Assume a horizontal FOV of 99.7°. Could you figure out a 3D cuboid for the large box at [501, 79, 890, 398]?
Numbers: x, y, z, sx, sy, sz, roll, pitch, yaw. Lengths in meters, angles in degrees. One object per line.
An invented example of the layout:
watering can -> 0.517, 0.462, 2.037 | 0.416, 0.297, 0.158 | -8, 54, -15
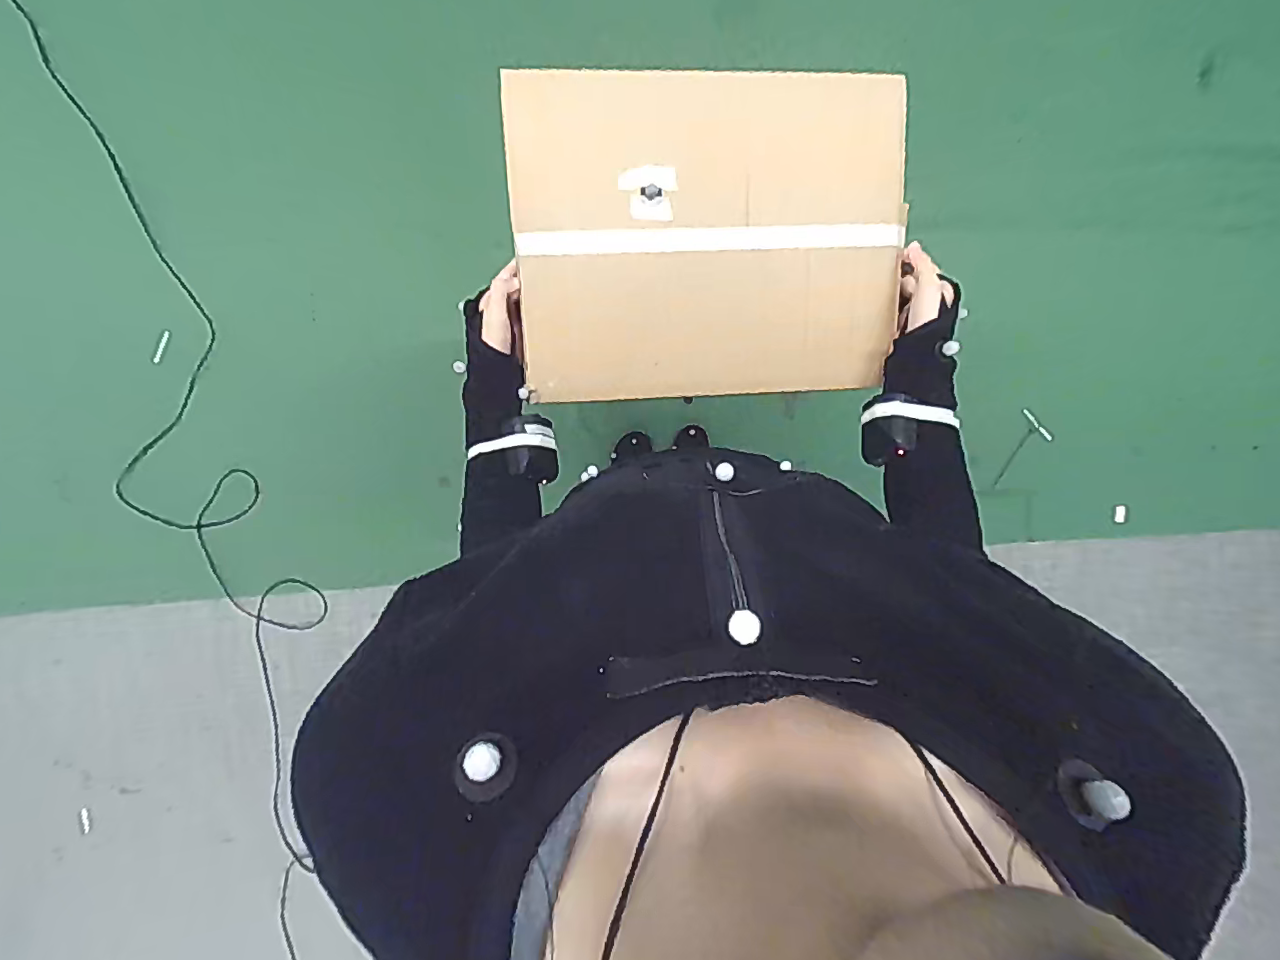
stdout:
large box -> 0.054, -0.282, 0.716 | 0.408, 0.320, 0.320 | -3, 101, -5
